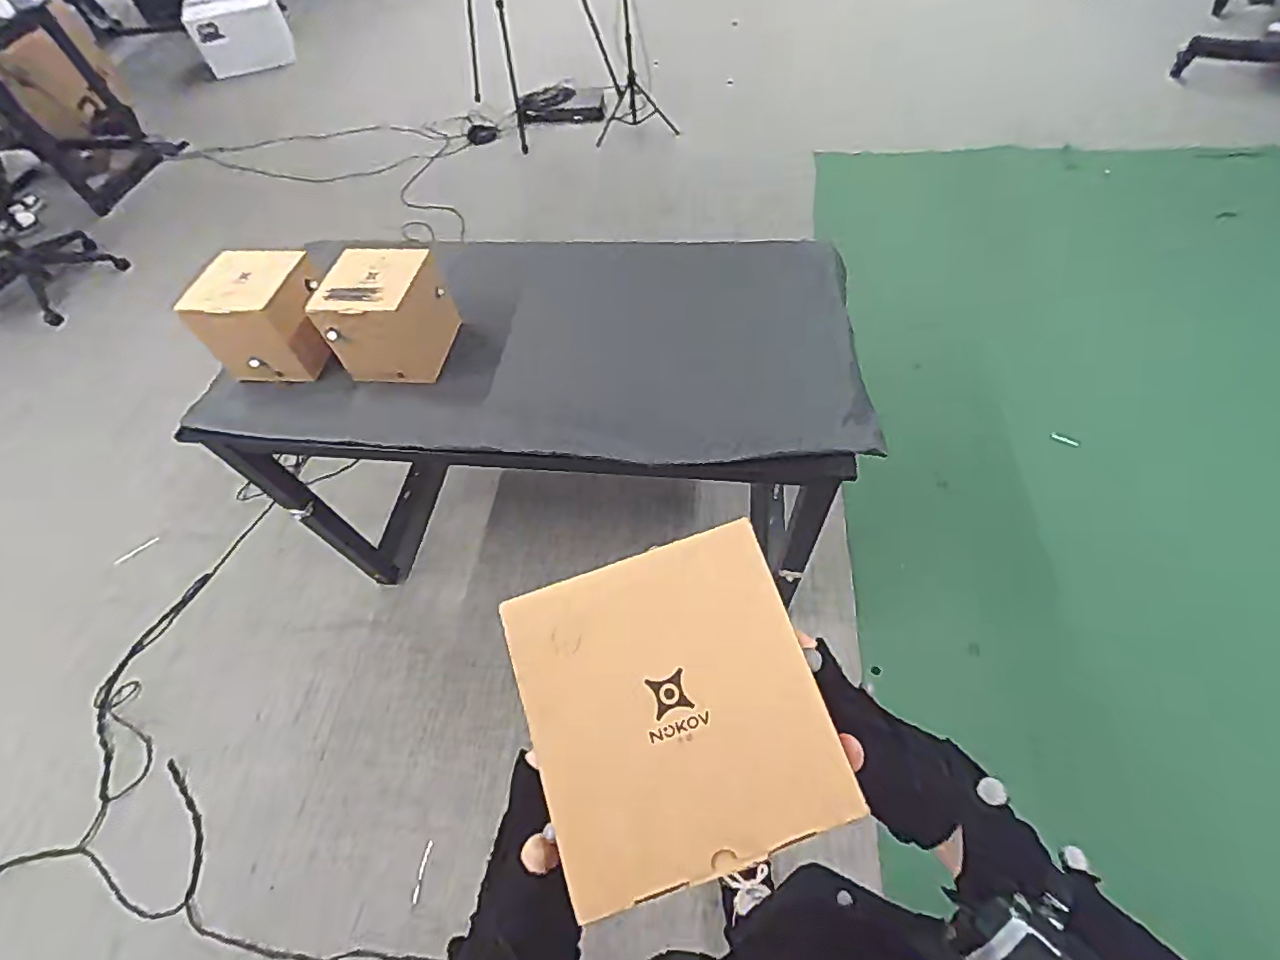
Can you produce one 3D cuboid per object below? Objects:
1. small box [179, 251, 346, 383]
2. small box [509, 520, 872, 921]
[{"bbox_3d":[-0.692,-0.308,1.023,0.168,0.176,0.179,3,56,5],"label":"small box"},{"bbox_3d":[0.024,0.151,0.386,0.168,0.176,0.179,-19,73,-4],"label":"small box"}]
